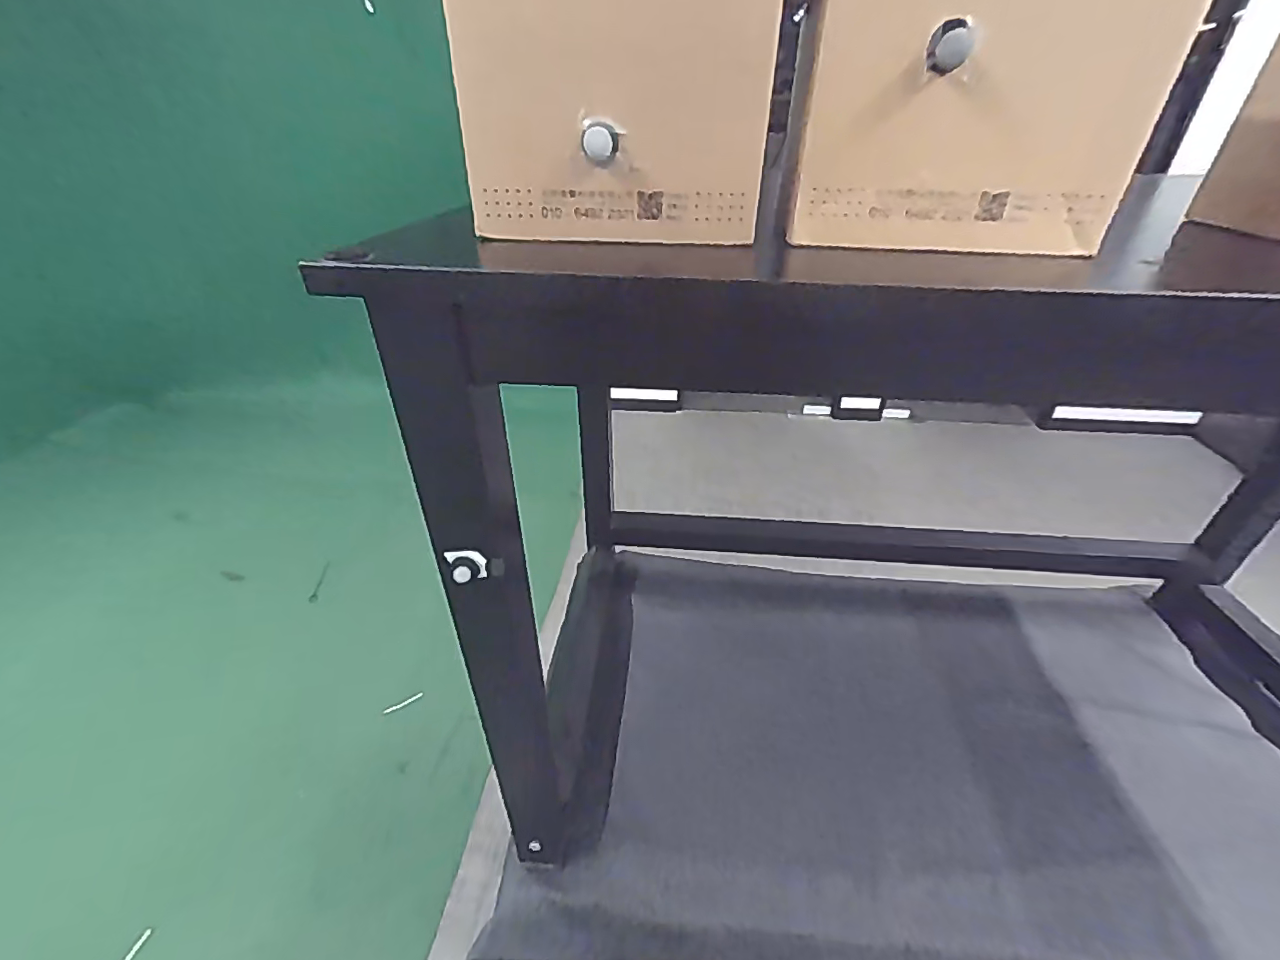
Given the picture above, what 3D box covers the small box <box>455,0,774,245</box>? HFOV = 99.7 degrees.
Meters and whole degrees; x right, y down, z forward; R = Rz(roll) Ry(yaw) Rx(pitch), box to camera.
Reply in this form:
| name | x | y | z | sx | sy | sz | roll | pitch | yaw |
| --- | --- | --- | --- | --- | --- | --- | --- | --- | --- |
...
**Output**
| name | x | y | z | sx | sy | sz | roll | pitch | yaw |
| --- | --- | --- | --- | --- | --- | --- | --- | --- | --- |
| small box | -0.011 | -0.260 | 0.347 | 0.168 | 0.176 | 0.179 | 3 | 35 | 3 |
